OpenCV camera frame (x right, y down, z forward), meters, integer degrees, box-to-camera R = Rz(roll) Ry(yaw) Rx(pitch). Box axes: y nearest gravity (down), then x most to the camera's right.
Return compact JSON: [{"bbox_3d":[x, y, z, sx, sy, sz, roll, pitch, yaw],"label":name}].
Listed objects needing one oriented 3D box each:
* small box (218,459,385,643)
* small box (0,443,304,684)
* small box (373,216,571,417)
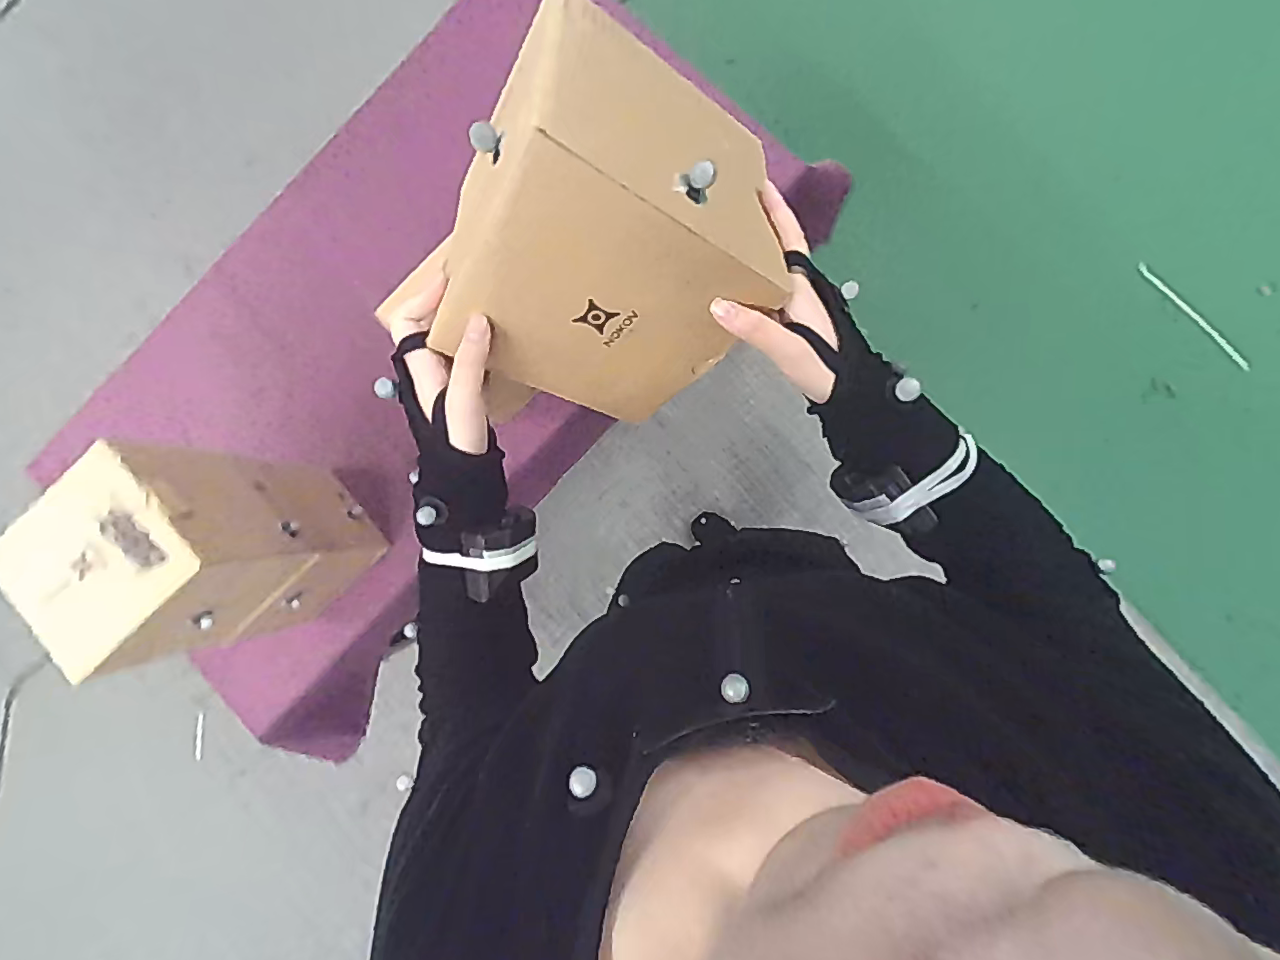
[{"bbox_3d":[-0.505,0.093,0.759,0.179,0.176,0.168,-43,85,1],"label":"small box"},{"bbox_3d":[-0.517,0.081,0.596,0.179,0.176,0.168,-43,85,3],"label":"small box"},{"bbox_3d":[-0.213,-0.211,0.746,0.179,0.176,0.168,-44,84,2],"label":"small box"}]
